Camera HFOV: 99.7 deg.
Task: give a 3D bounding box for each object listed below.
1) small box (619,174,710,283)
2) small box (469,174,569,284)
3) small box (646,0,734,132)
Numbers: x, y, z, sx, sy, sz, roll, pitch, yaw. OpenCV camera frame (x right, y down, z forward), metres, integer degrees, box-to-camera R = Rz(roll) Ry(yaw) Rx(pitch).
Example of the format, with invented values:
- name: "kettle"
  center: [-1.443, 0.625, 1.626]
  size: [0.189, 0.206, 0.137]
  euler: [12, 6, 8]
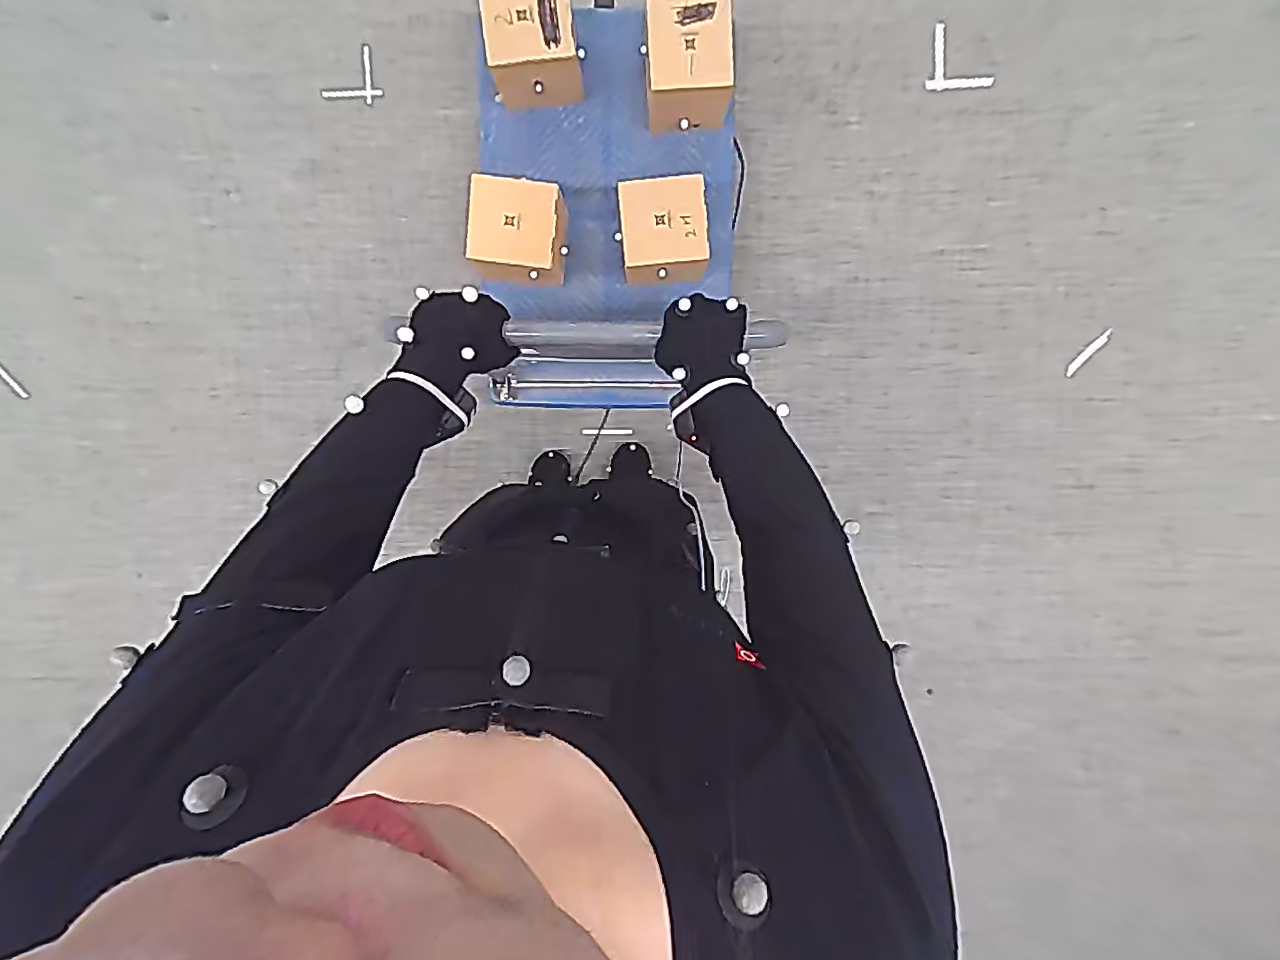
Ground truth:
- name: "small box"
  center: [0.051, -0.536, 1.175]
  size: [0.179, 0.176, 0.168]
  euler: [-5, 97, 0]
- name: "small box"
  center: [-0.255, -0.535, 1.174]
  size: [0.179, 0.176, 0.168]
  euler: [6, 96, -2]
- name: "small box"
  center: [0.100, -0.870, 1.136]
  size: [0.168, 0.176, 0.179]
  euler: [-3, 98, 0]
